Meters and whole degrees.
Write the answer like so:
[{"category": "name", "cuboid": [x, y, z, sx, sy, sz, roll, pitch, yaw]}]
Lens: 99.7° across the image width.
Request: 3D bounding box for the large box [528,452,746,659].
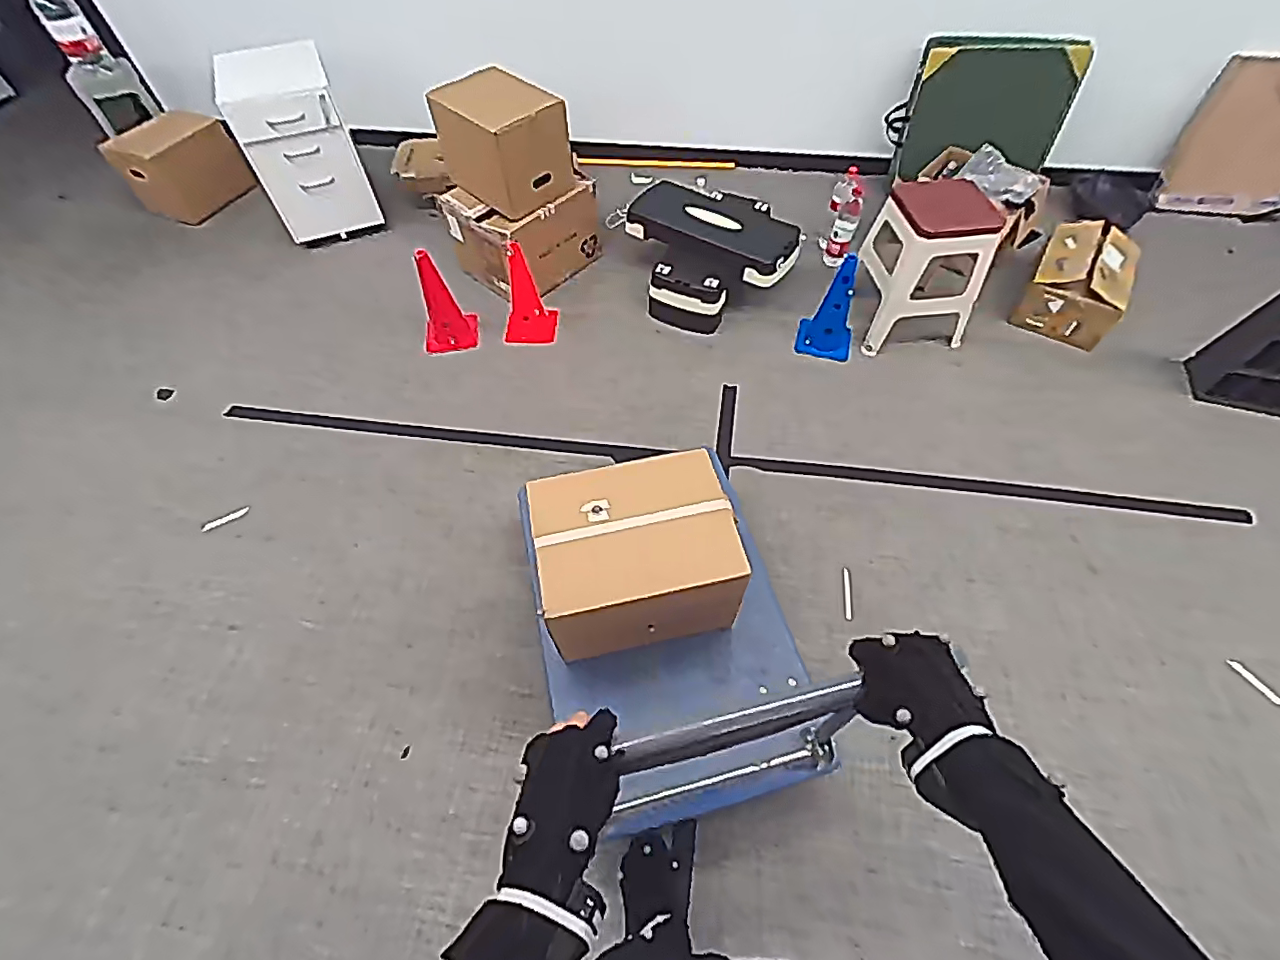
[{"category": "large box", "cuboid": [-0.012, 0.181, 1.237, 0.408, 0.320, 0.320, -12, 57, -5]}]
